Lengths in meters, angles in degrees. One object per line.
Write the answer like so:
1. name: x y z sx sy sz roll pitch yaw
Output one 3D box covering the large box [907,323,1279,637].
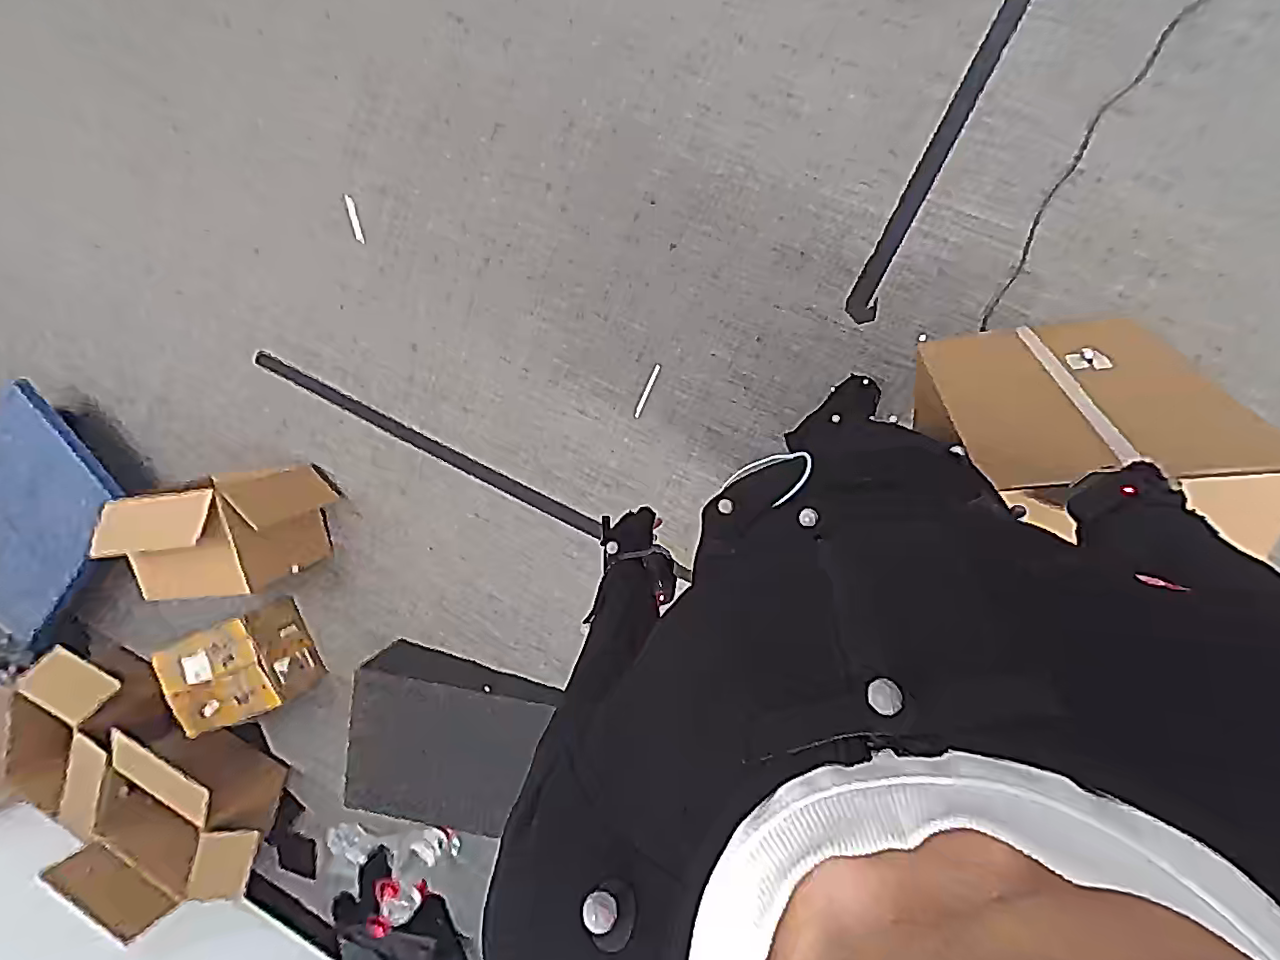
1. large box: 0.640 -0.006 0.863 0.320 0.408 0.320 -4 128 16
